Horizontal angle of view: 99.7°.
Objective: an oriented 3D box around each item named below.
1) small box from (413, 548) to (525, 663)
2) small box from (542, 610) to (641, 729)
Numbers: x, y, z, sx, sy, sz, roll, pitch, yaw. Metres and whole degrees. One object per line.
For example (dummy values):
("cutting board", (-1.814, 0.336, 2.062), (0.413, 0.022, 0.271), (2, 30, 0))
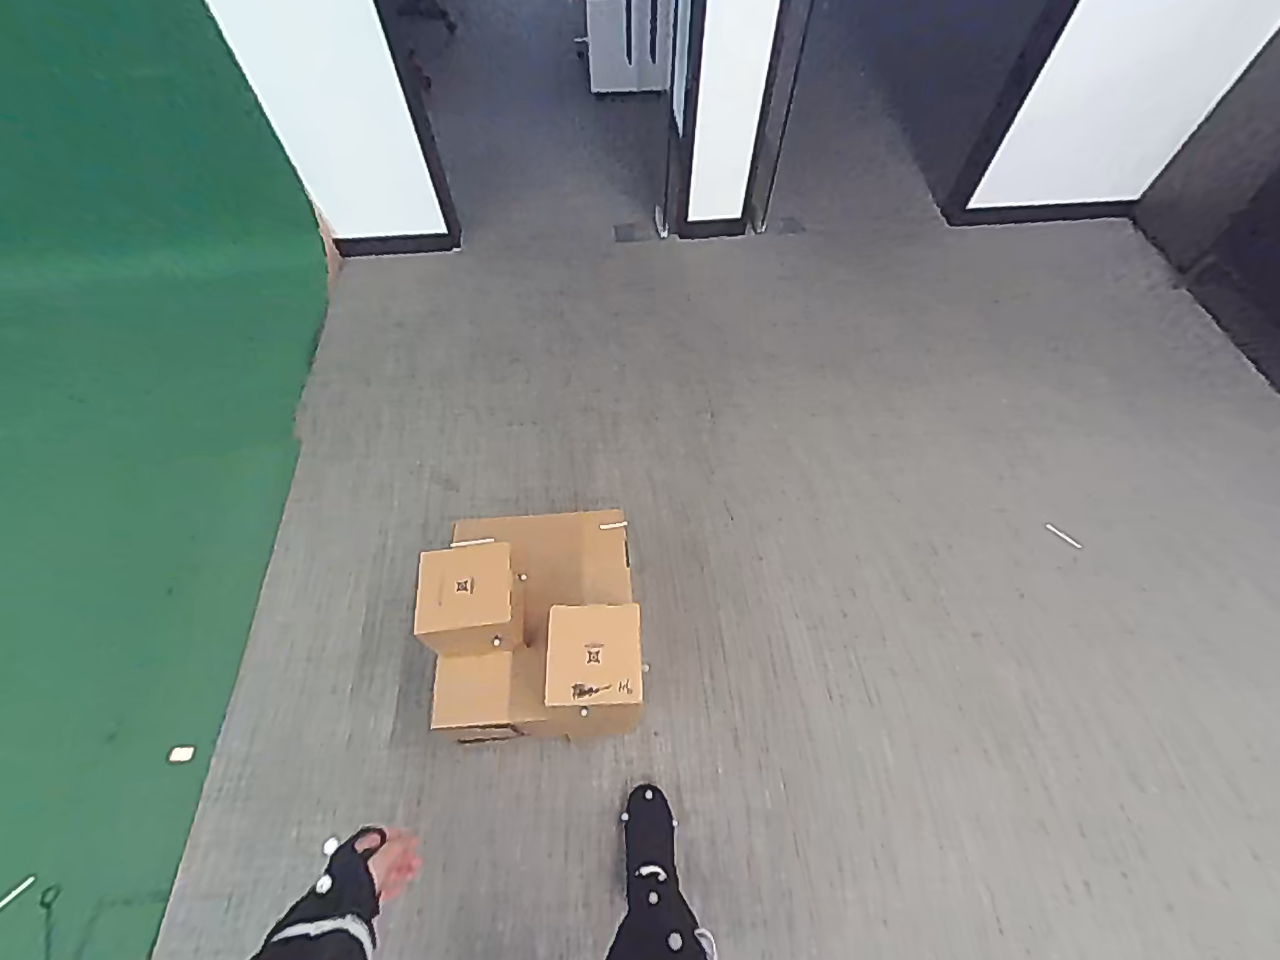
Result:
("small box", (-0.329, 0.253, 1.077), (0.179, 0.176, 0.168), (-6, 56, -4))
("small box", (-0.084, 0.356, 1.009), (0.168, 0.176, 0.179), (0, 56, -1))
